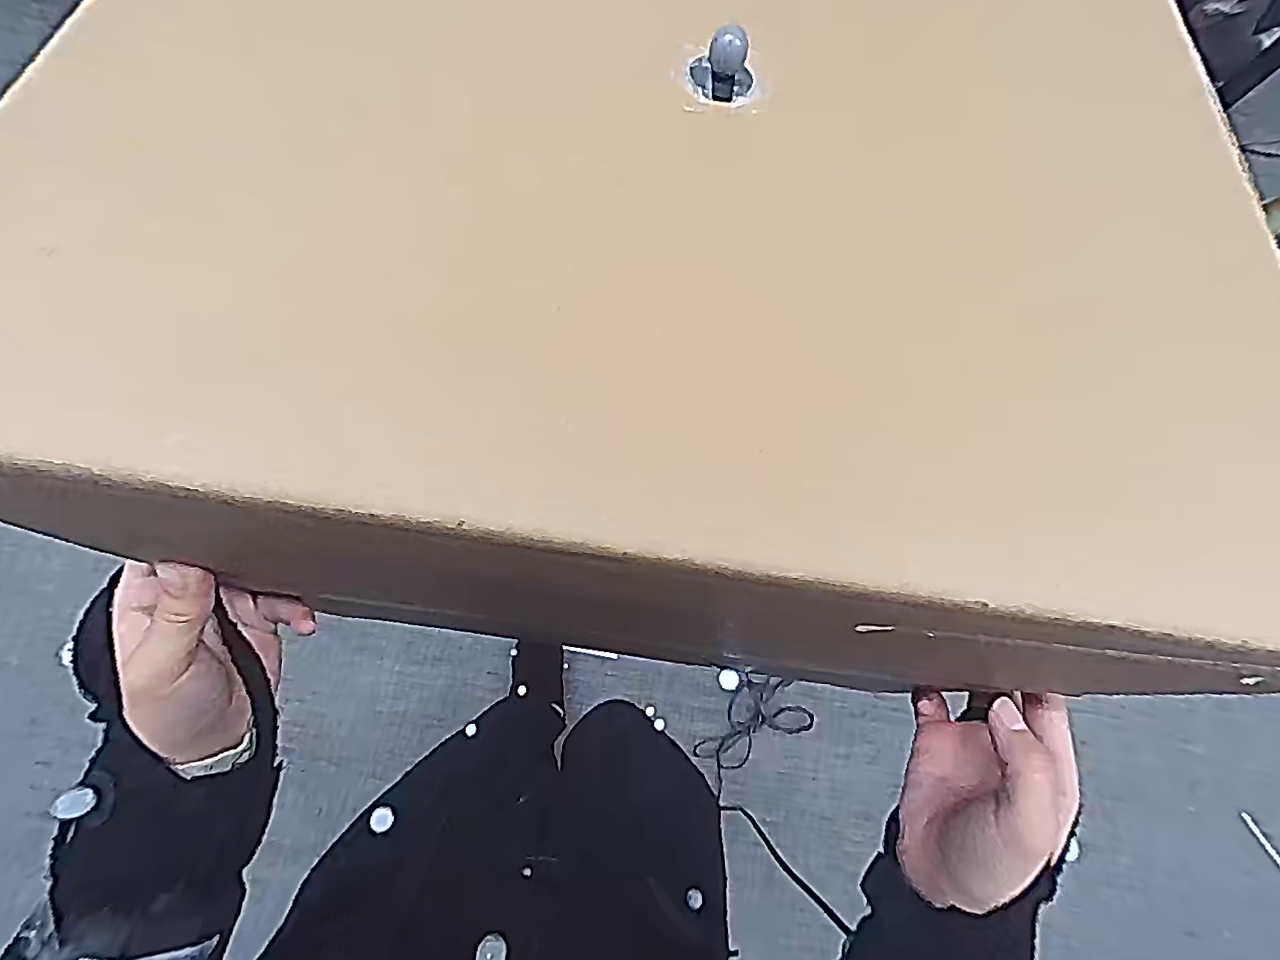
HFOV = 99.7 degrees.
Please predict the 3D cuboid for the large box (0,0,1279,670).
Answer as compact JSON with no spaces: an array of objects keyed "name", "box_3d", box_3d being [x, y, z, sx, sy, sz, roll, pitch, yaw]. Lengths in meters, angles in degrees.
[{"name":"large box","box_3d":[0.009,-0.080,0.321,0.408,0.320,0.320,8,70,-2]}]
